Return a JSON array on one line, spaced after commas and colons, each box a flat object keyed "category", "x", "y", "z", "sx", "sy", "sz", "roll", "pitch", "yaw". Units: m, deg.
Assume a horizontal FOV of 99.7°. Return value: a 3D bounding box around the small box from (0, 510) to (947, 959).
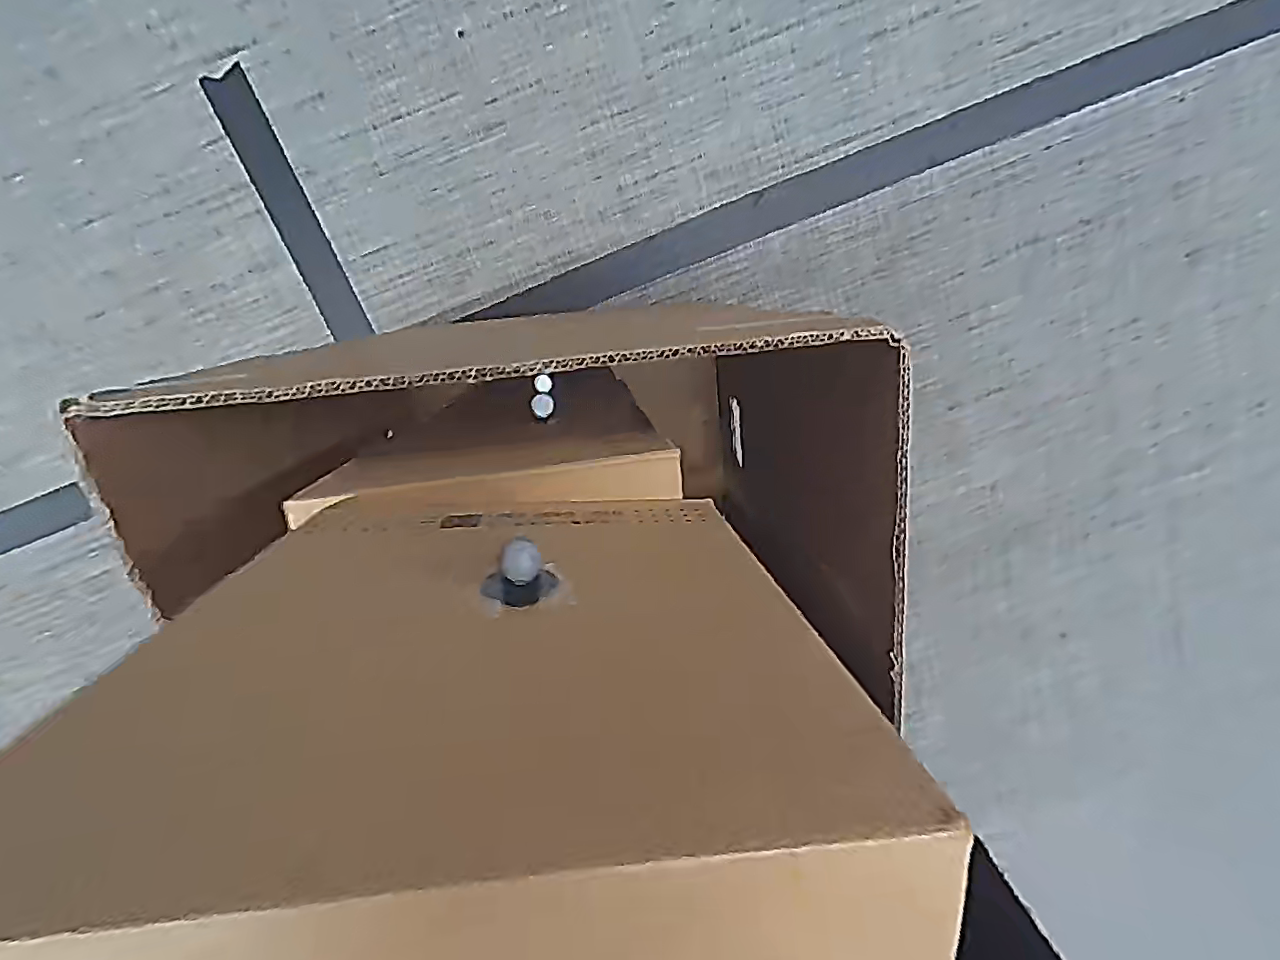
[{"category": "small box", "x": -0.042, "y": 0.113, "z": 0.177, "sx": 0.168, "sy": 0.176, "sz": 0.179, "roll": 0, "pitch": 106, "yaw": -7}]
